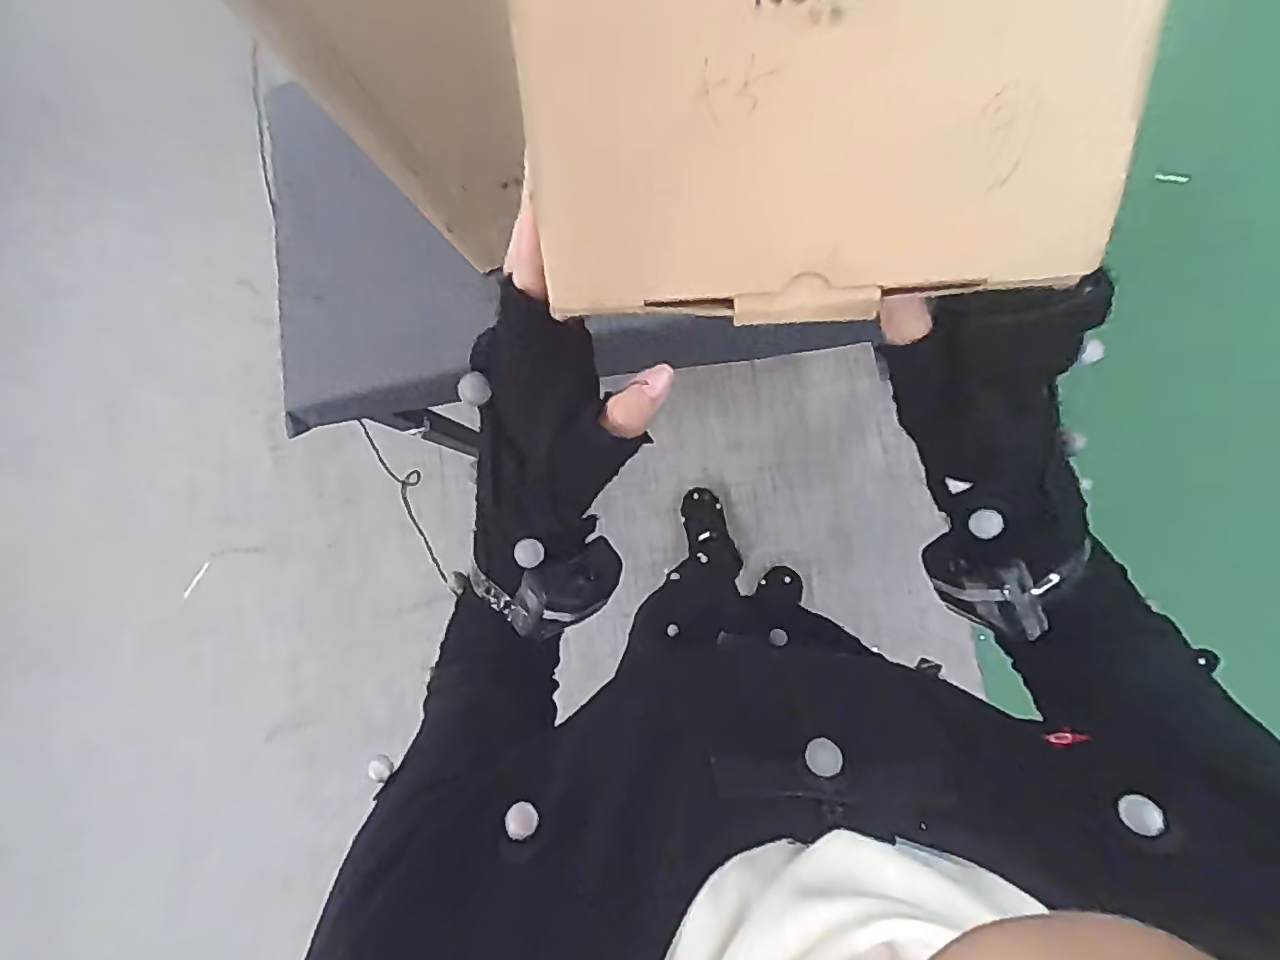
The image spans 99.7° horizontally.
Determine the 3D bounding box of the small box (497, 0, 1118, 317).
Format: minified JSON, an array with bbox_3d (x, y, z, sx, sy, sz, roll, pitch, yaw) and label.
[{"bbox_3d":[0.048,-0.169,0.214,0.168,0.176,0.179,-1,114,6],"label":"small box"}]
